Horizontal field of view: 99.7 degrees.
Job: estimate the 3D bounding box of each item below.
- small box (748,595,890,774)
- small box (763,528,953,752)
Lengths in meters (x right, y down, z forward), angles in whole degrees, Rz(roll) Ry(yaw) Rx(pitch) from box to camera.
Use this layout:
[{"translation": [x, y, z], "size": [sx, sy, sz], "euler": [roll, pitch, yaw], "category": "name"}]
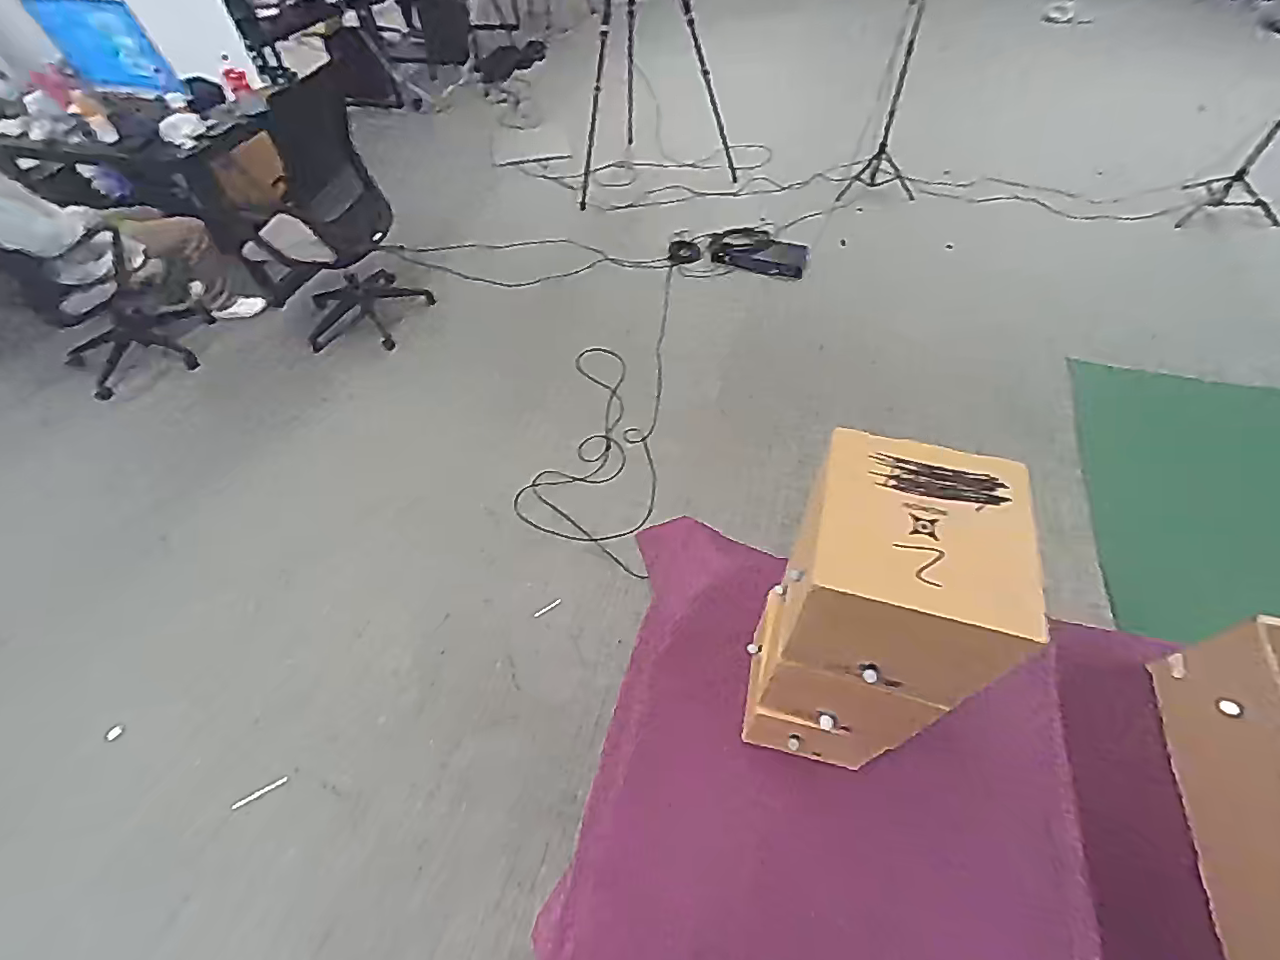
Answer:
[{"translation": [0.249, 0.293, 0.766], "size": [0.168, 0.176, 0.179], "euler": [10, 52, 12], "category": "small box"}, {"translation": [0.248, 0.190, 0.638], "size": [0.168, 0.176, 0.179], "euler": [13, 54, 14], "category": "small box"}]
